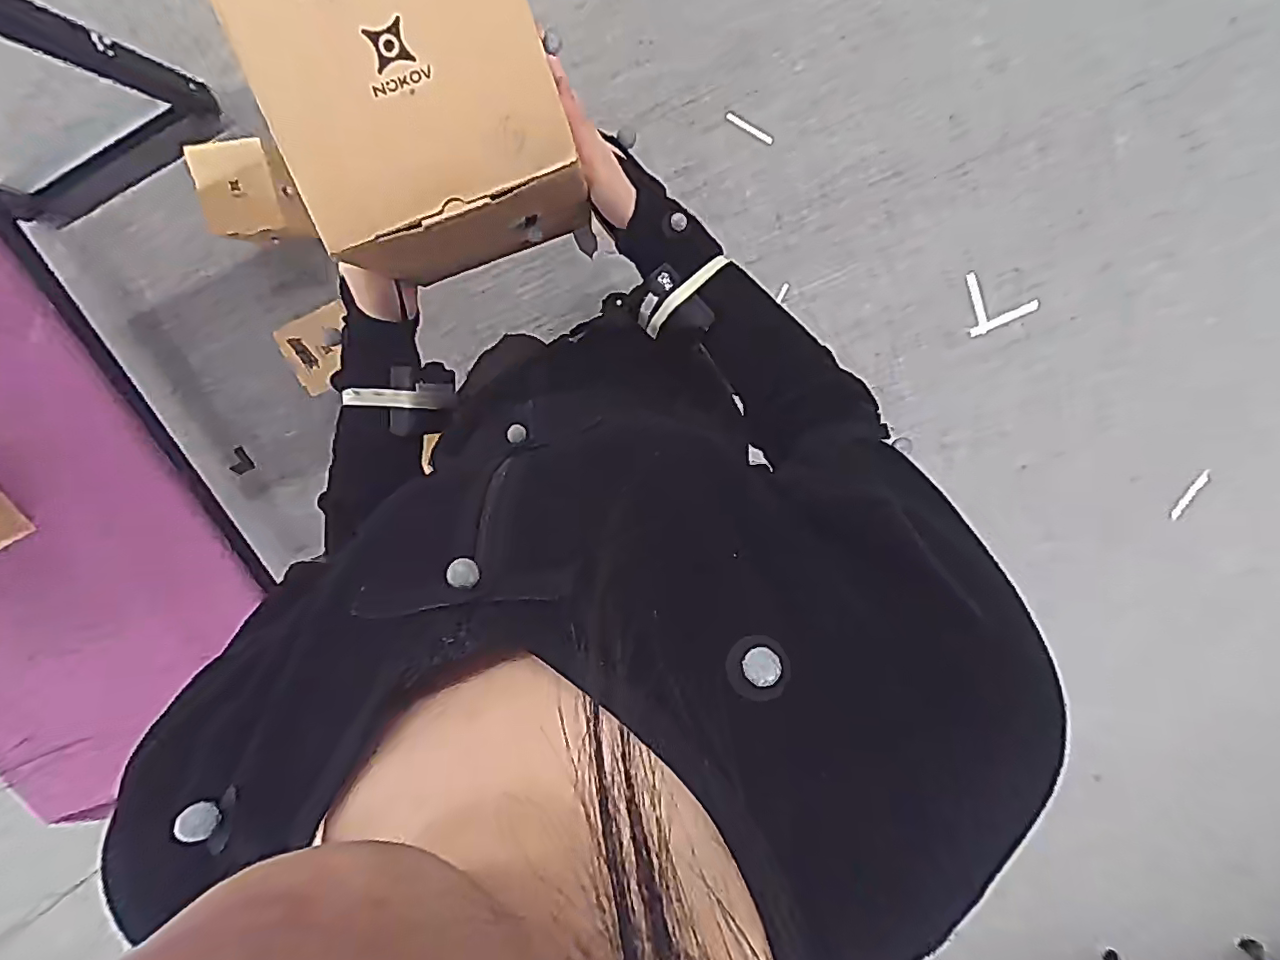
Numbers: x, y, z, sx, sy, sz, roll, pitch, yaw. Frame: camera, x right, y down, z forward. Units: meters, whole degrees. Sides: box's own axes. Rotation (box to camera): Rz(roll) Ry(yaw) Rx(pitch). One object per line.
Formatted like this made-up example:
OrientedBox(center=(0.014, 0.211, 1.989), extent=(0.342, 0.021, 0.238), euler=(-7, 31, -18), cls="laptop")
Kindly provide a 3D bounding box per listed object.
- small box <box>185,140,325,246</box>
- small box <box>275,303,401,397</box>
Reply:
OrientedBox(center=(-0.853, -0.637, 1.218), extent=(0.168, 0.176, 0.179), euler=(-6, 109, 2), cls="small box")
OrientedBox(center=(-0.727, -0.320, 1.322), extent=(0.179, 0.176, 0.168), euler=(-23, 107, 7), cls="small box")
